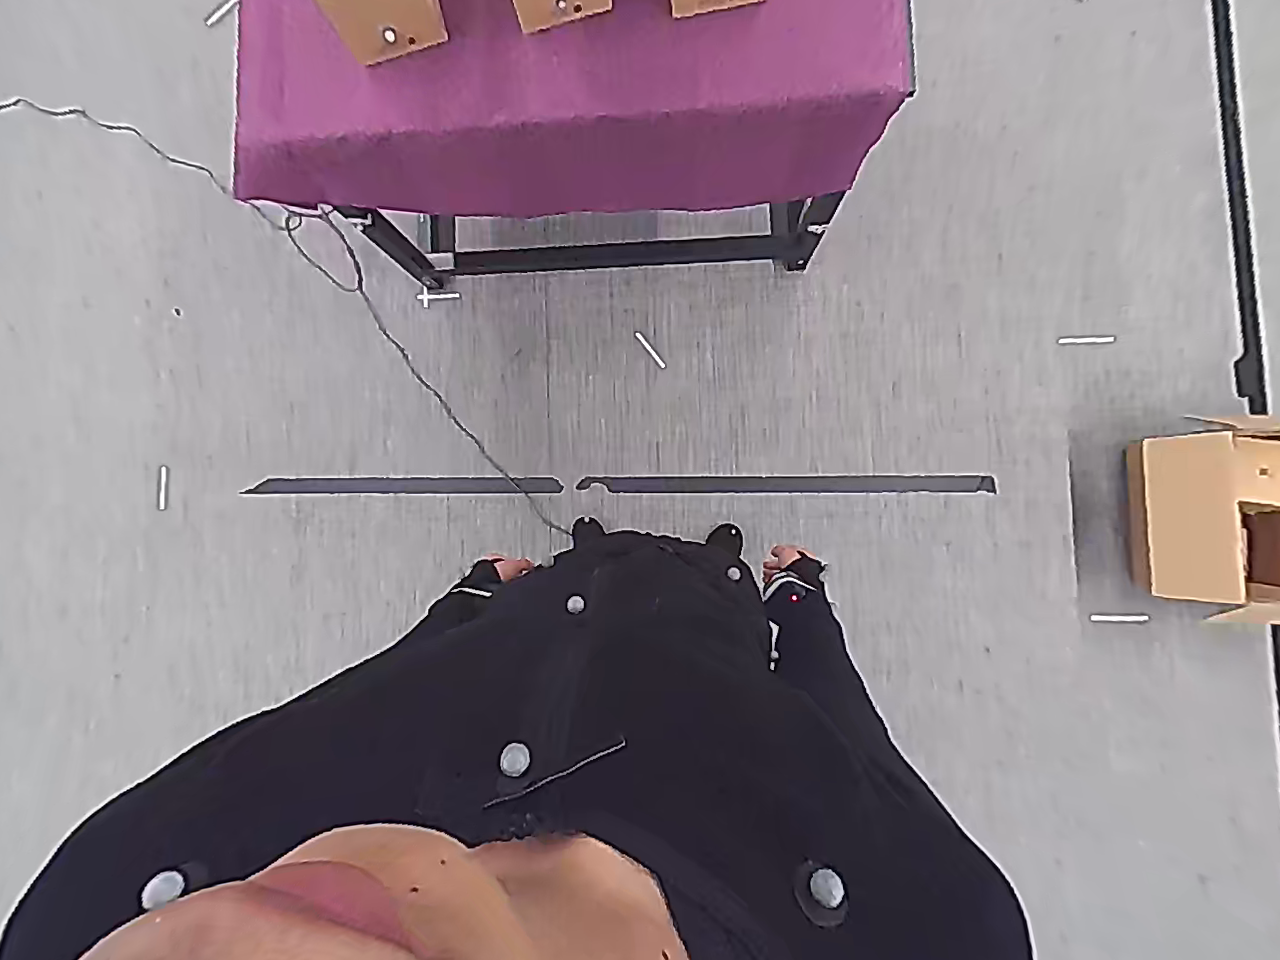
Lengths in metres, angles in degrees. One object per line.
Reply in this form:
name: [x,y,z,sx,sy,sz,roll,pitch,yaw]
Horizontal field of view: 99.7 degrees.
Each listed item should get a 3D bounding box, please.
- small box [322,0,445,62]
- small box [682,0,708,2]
small box: [-0.448,-0.853,0.891,0.168,0.176,0.179,-15,87,4]
small box: [0.122,-0.905,0.850,0.168,0.176,0.179,-8,87,4]
